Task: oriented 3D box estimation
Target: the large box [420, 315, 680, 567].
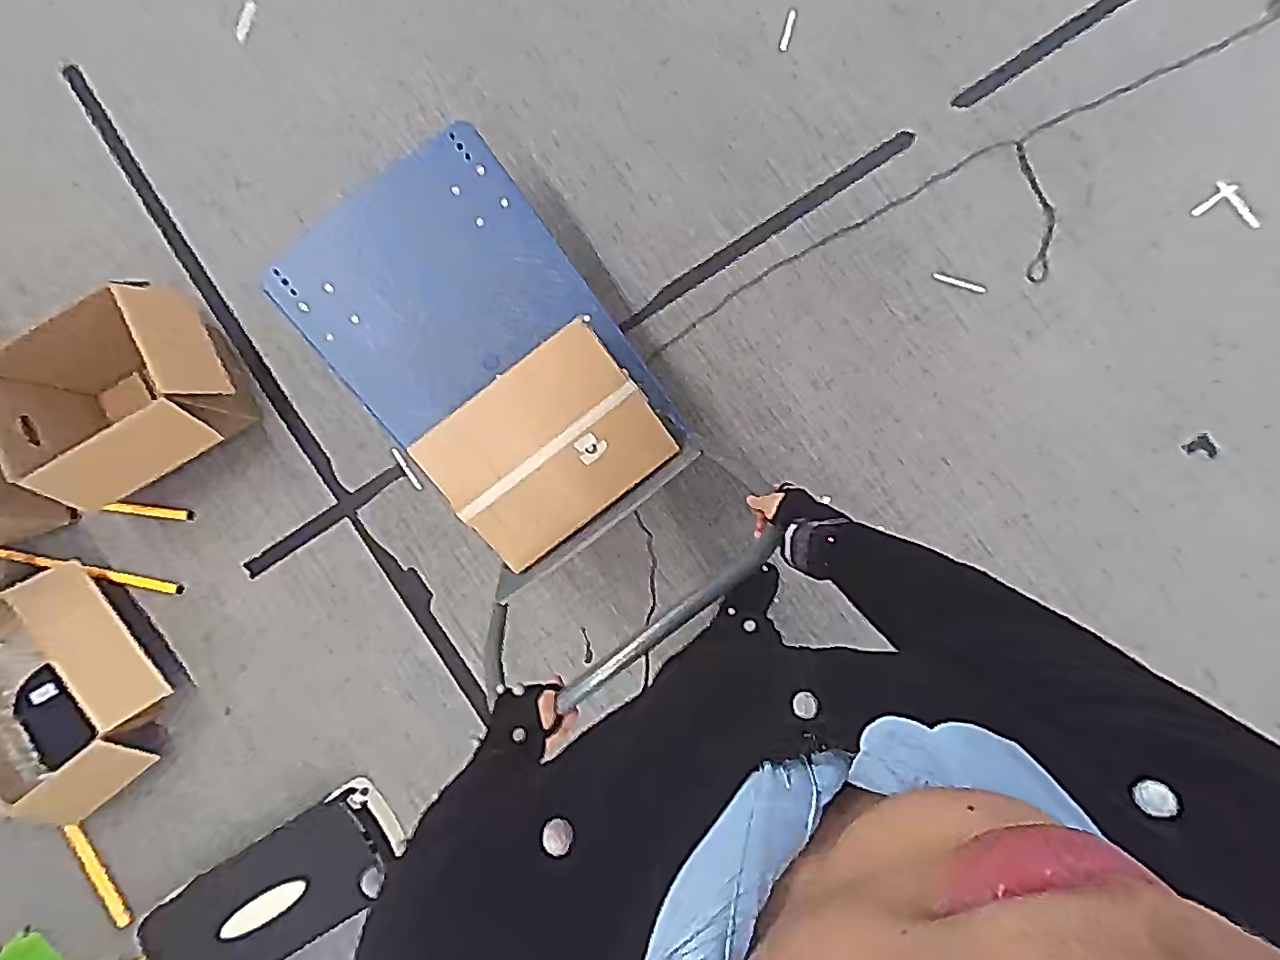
[{"bbox_3d":[-0.185,-0.090,1.170,0.408,0.320,0.320,-39,104,0],"label":"large box"}]
